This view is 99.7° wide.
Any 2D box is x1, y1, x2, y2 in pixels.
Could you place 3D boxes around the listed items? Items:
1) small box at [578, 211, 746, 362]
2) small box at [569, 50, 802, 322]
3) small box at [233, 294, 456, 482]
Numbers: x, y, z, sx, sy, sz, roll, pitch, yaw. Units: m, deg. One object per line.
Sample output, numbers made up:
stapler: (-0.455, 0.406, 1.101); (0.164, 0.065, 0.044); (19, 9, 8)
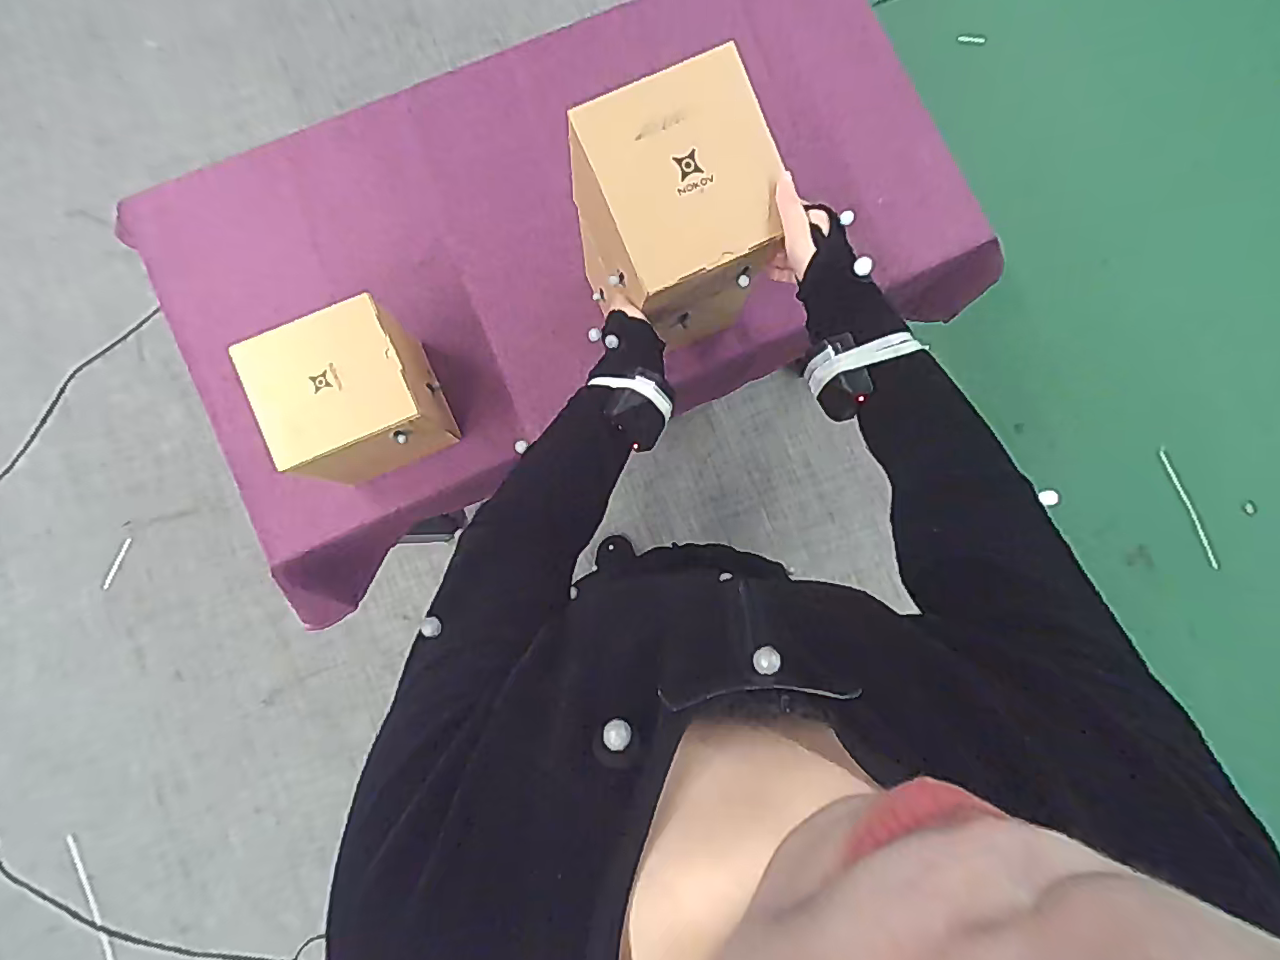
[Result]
small box: (0.030, -0.285, 0.748); (0.179, 0.176, 0.168); (-23, 86, -4)
small box: (0.038, -0.282, 0.568); (0.168, 0.176, 0.179); (-25, 96, -3)
small box: (-0.372, -0.108, 0.715); (0.179, 0.176, 0.168); (-25, 85, -6)
